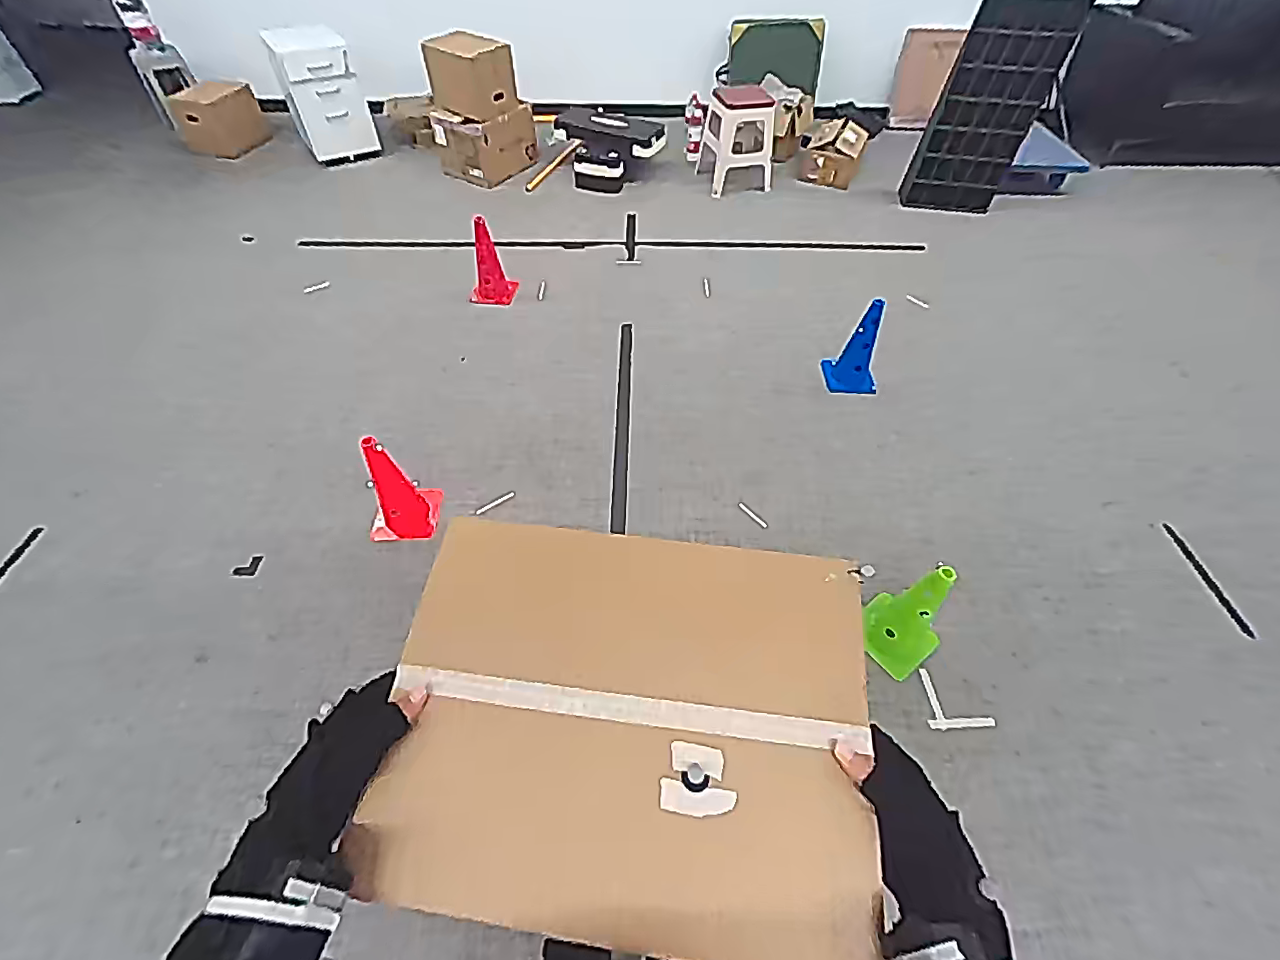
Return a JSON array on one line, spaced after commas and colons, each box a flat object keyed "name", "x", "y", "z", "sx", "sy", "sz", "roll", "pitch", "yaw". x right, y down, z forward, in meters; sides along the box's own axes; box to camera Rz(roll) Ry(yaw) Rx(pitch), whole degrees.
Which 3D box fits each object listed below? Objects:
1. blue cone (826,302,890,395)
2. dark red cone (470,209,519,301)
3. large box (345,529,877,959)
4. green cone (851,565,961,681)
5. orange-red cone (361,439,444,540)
[{"name": "blue cone", "x": 0.882, "y": -0.525, "z": 2.123, "sx": 0.192, "sy": 0.380, "sz": 0.193, "roll": 4, "pitch": 51, "yaw": 1}, {"name": "dark red cone", "x": -0.682, "y": -1.017, "z": 2.440, "sx": 0.201, "sy": 0.394, "sz": 0.202, "roll": 6, "pitch": 51, "yaw": 2}, {"name": "large box", "x": -0.009, "y": 0.274, "z": 0.595, "sx": 0.408, "sy": 0.320, "sz": 0.320, "roll": 6, "pitch": 60, "yaw": 5}, {"name": "green cone", "x": 0.726, "y": 0.335, "z": 1.404, "sx": 0.202, "sy": 0.368, "sz": 0.200, "roll": -30, "pitch": 58, "yaw": -24}, {"name": "orange-red cone", "x": -0.757, "y": 0.008, "z": 1.643, "sx": 0.198, "sy": 0.360, "sz": 0.199, "roll": -2, "pitch": 53, "yaw": -1}]
